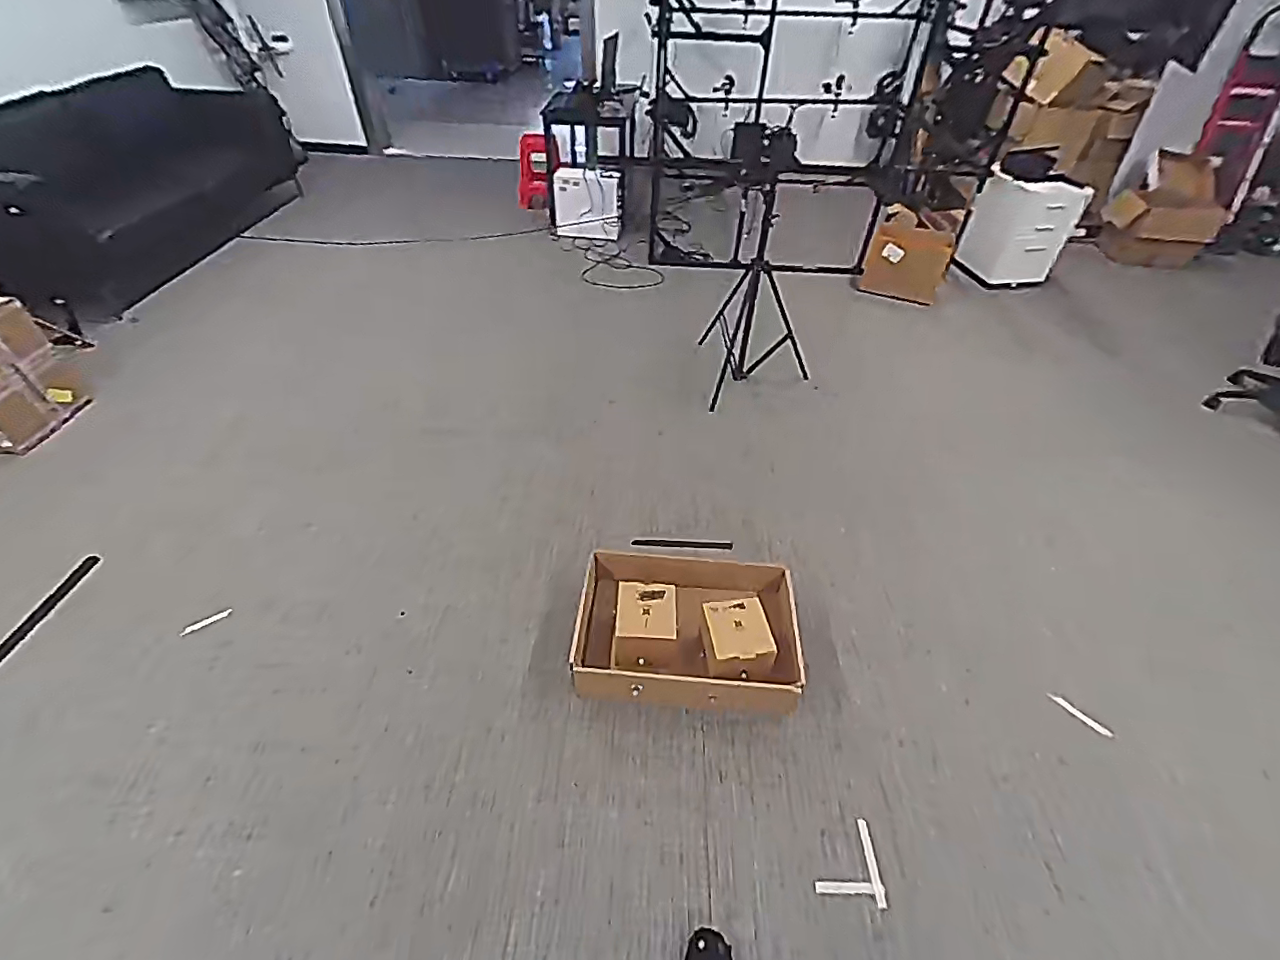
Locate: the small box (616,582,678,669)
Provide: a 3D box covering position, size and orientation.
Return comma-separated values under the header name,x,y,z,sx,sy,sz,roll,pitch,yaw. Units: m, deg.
name,x,y,z,sx,sy,sz,roll,pitch,yaw
small box,0.019,0.418,1.553,0.168,0.176,0.179,3,44,0
